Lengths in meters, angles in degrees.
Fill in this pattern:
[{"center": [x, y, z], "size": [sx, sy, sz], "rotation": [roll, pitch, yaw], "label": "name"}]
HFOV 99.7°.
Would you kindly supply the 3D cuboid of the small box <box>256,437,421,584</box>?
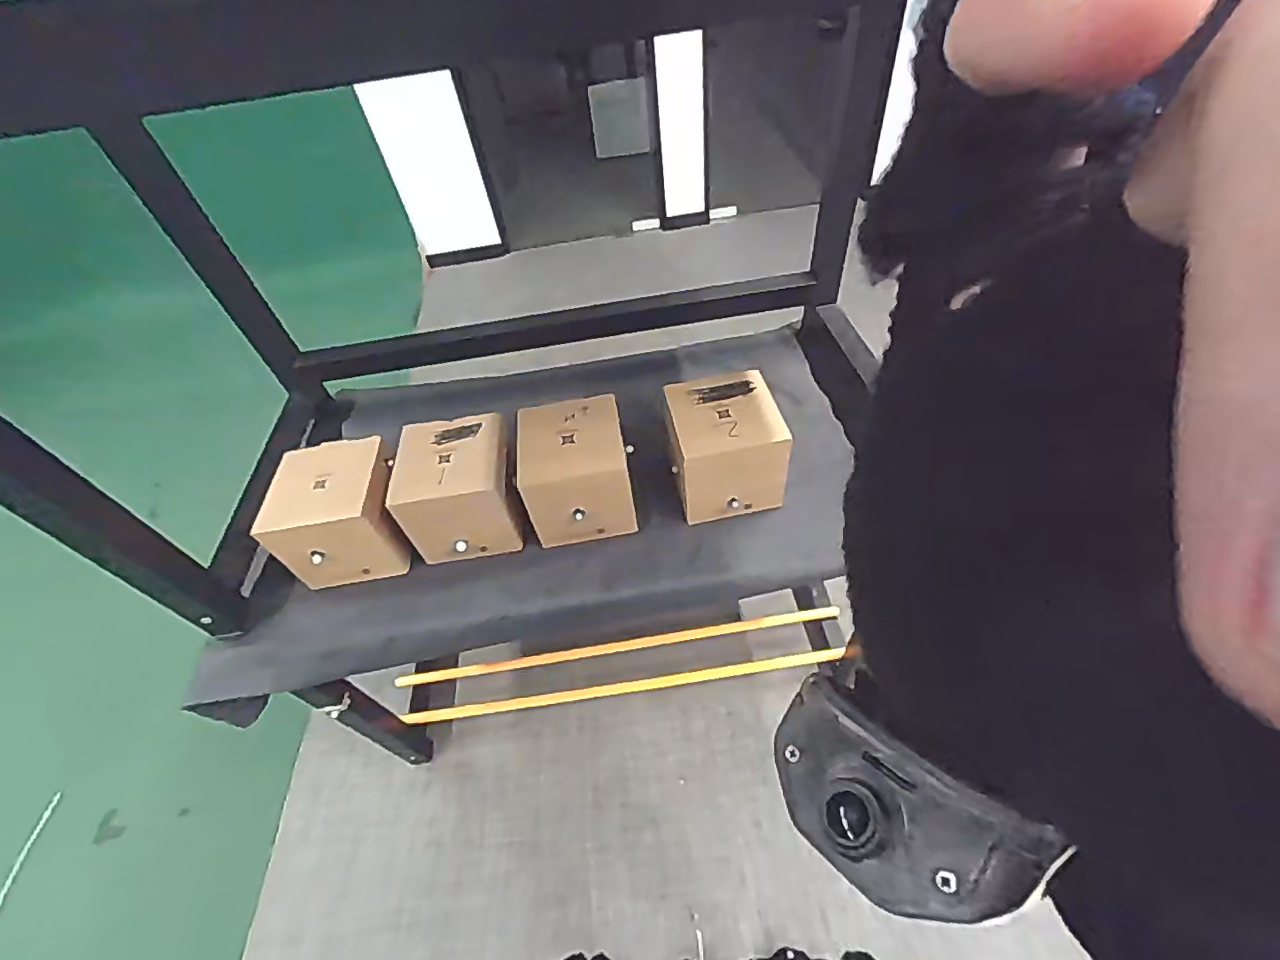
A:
[{"center": [-0.485, 0.058, 0.904], "size": [0.168, 0.176, 0.179], "rotation": [-9, 48, -1], "label": "small box"}]
